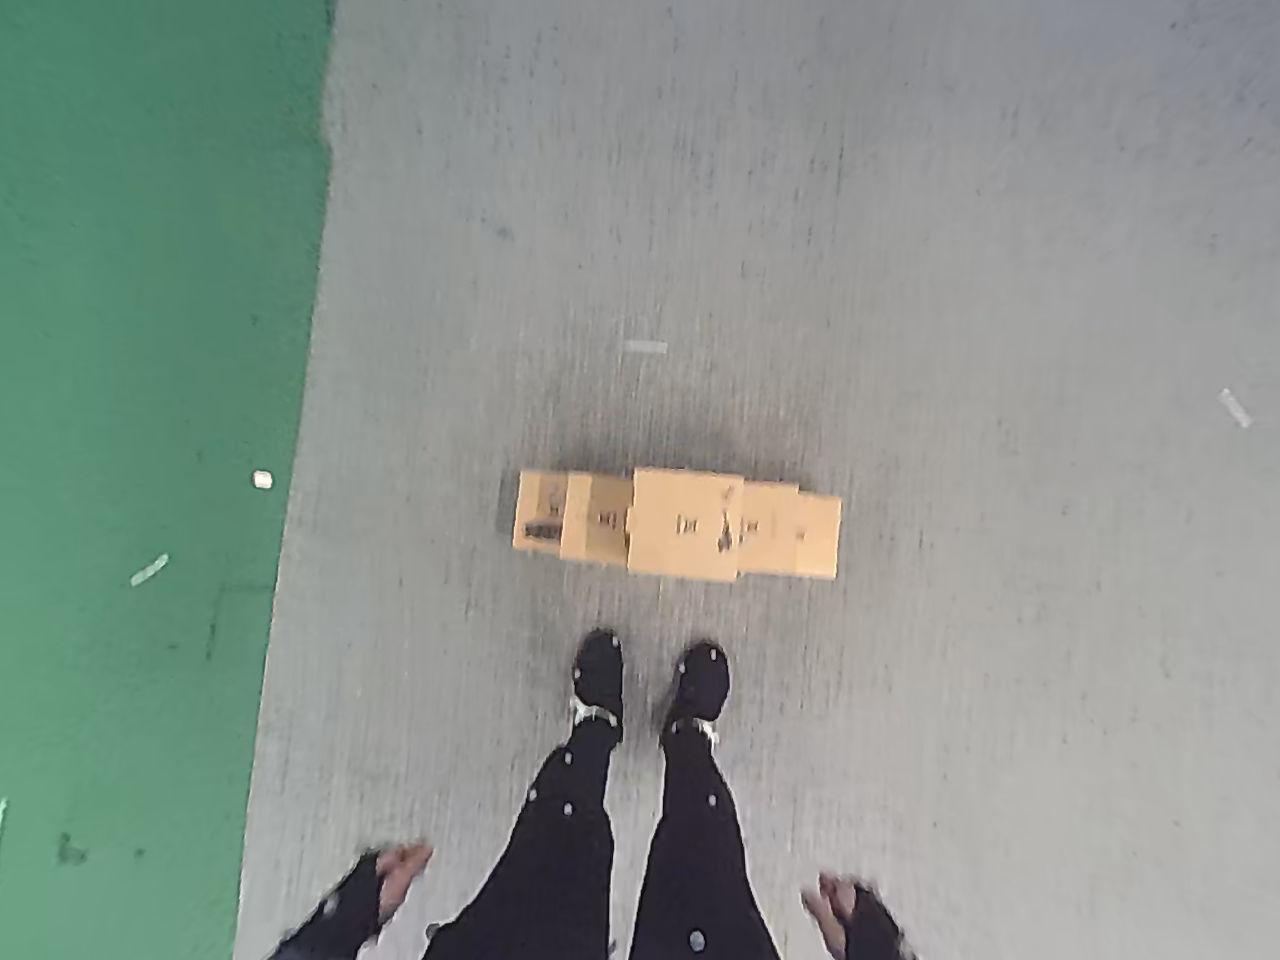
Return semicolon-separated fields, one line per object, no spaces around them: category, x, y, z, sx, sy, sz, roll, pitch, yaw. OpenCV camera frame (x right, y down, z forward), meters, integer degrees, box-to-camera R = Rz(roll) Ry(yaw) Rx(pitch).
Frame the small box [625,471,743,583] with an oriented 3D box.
small box;0.074;0.079;0.930;0.179;0.176;0.168;5;87;3

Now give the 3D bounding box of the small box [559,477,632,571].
small box;-0.054;0.090;1.098;0.179;0.176;0.168;6;86;4

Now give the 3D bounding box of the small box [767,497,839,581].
small box;0.346;0.130;1.245;0.168;0.176;0.179;5;86;3

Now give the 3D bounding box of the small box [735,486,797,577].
small box;0.205;0.100;1.088;0.179;0.176;0.168;3;86;1
